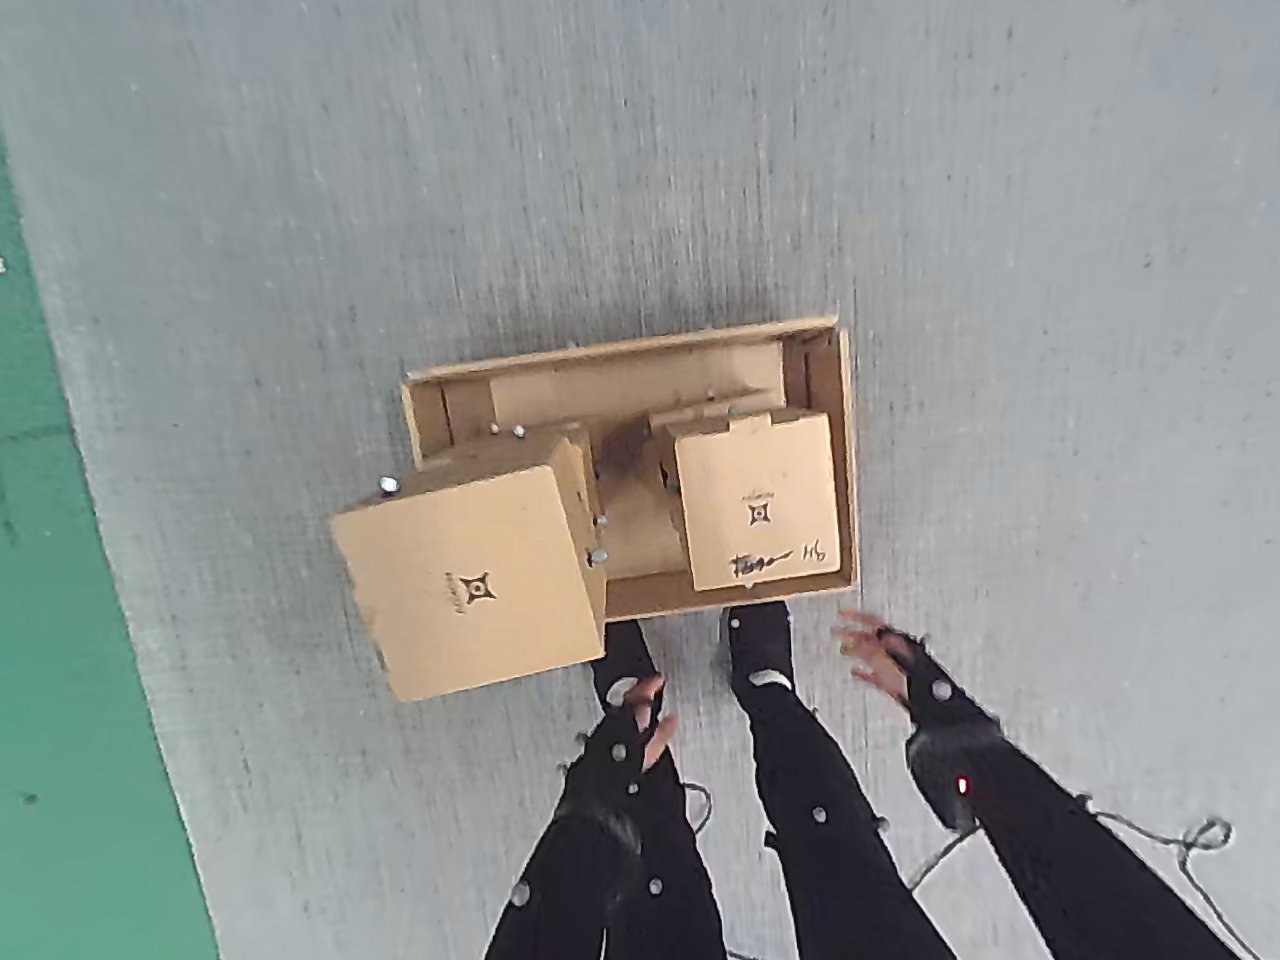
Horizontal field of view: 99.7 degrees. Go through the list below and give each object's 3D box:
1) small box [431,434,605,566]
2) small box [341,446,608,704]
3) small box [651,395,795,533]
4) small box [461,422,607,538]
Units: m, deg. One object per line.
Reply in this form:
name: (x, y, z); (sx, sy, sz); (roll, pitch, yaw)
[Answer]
small box: (-0.134, 0.045, 0.667); (0.168, 0.176, 0.179); (-7, 101, -1)
small box: (-0.132, 0.072, 0.507); (0.179, 0.176, 0.168); (-14, 101, 1)
small box: (0.117, -0.032, 0.825); (0.179, 0.176, 0.168); (-12, 100, 1)
small box: (-0.150, 0.010, 0.827); (0.179, 0.176, 0.168); (-11, 101, -2)
